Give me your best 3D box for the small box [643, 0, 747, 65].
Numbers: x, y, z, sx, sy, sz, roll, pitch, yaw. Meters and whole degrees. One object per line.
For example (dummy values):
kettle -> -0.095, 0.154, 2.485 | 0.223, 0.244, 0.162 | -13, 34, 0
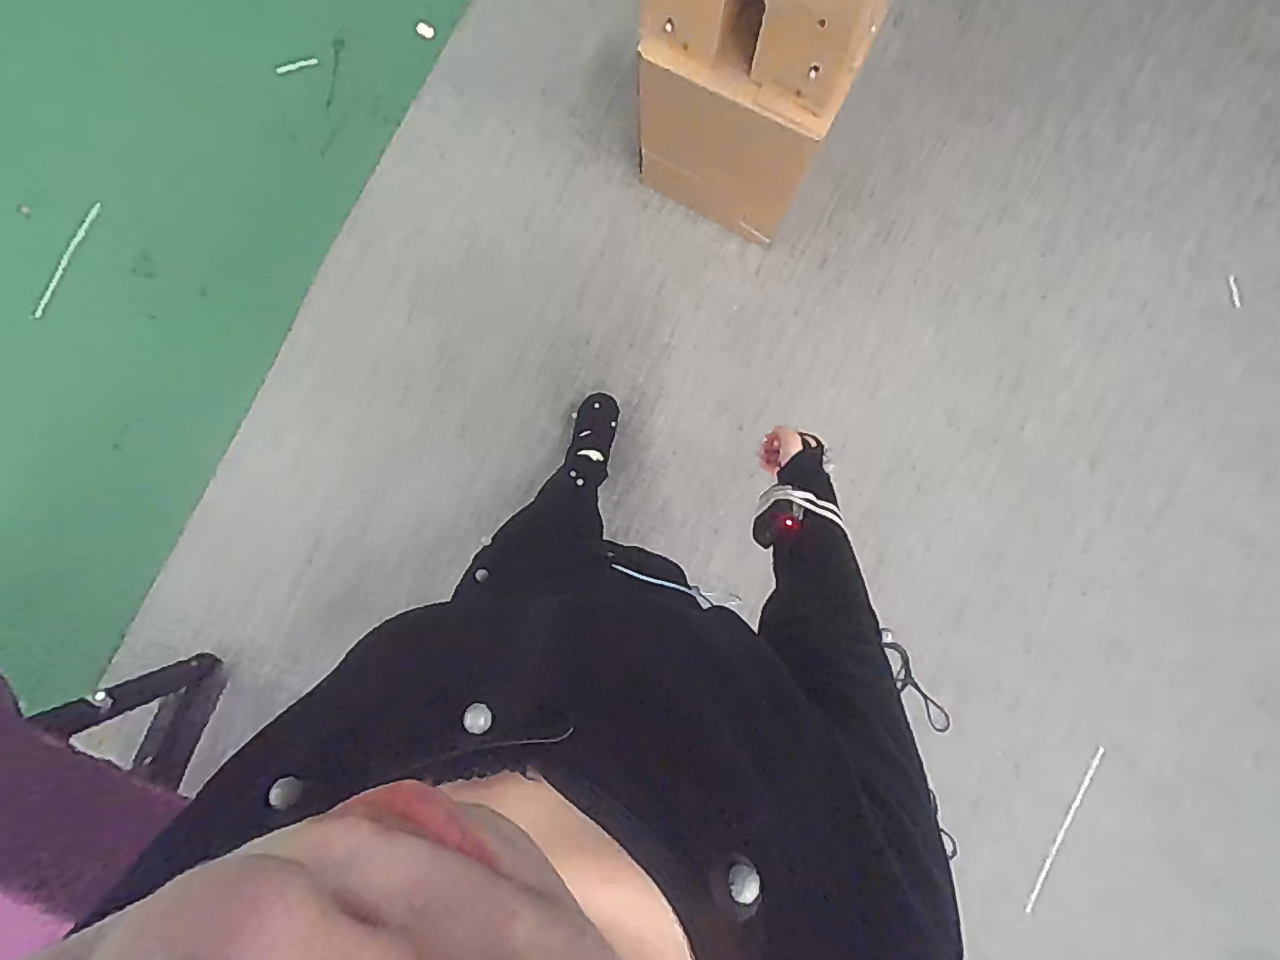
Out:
small box -> 0.111, -0.921, 0.979 | 0.168, 0.176, 0.179 | 28, 90, 0

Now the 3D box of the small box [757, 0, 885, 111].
small box -> 0.327, -0.823, 0.973 | 0.168, 0.176, 0.179 | 30, 88, 2
